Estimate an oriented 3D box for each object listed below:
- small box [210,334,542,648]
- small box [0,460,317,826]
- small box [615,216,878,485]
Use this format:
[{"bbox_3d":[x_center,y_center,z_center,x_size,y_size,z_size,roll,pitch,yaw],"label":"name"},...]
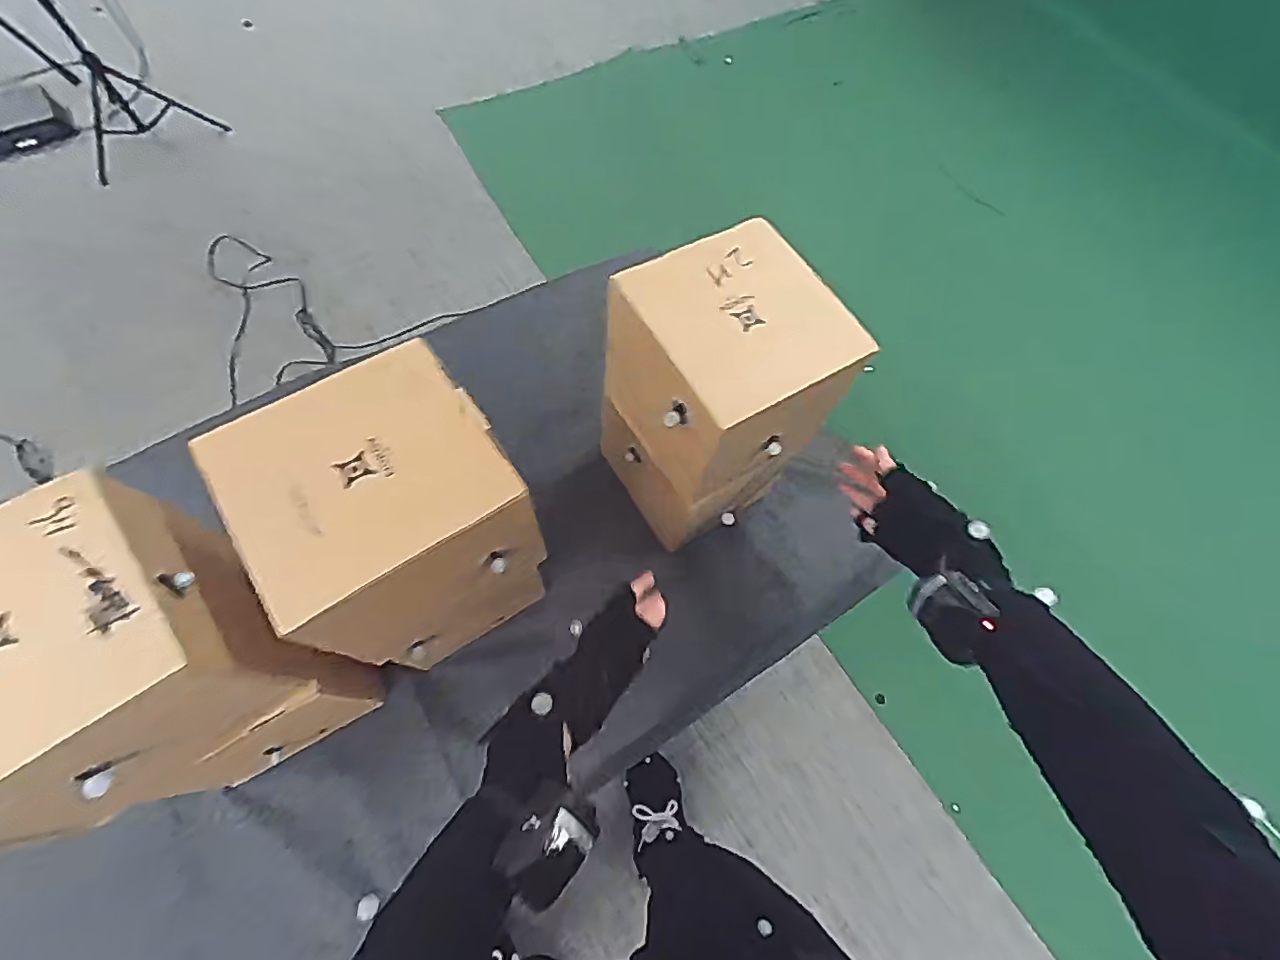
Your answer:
[{"bbox_3d":[-0.195,0.018,0.457,0.179,0.176,0.168,-32,72,-16],"label":"small box"},{"bbox_3d":[-0.387,0.123,0.395,0.179,0.176,0.168,-36,75,-17],"label":"small box"},{"bbox_3d":[0.086,-0.114,0.536,0.168,0.176,0.179,-28,71,-16],"label":"small box"}]
